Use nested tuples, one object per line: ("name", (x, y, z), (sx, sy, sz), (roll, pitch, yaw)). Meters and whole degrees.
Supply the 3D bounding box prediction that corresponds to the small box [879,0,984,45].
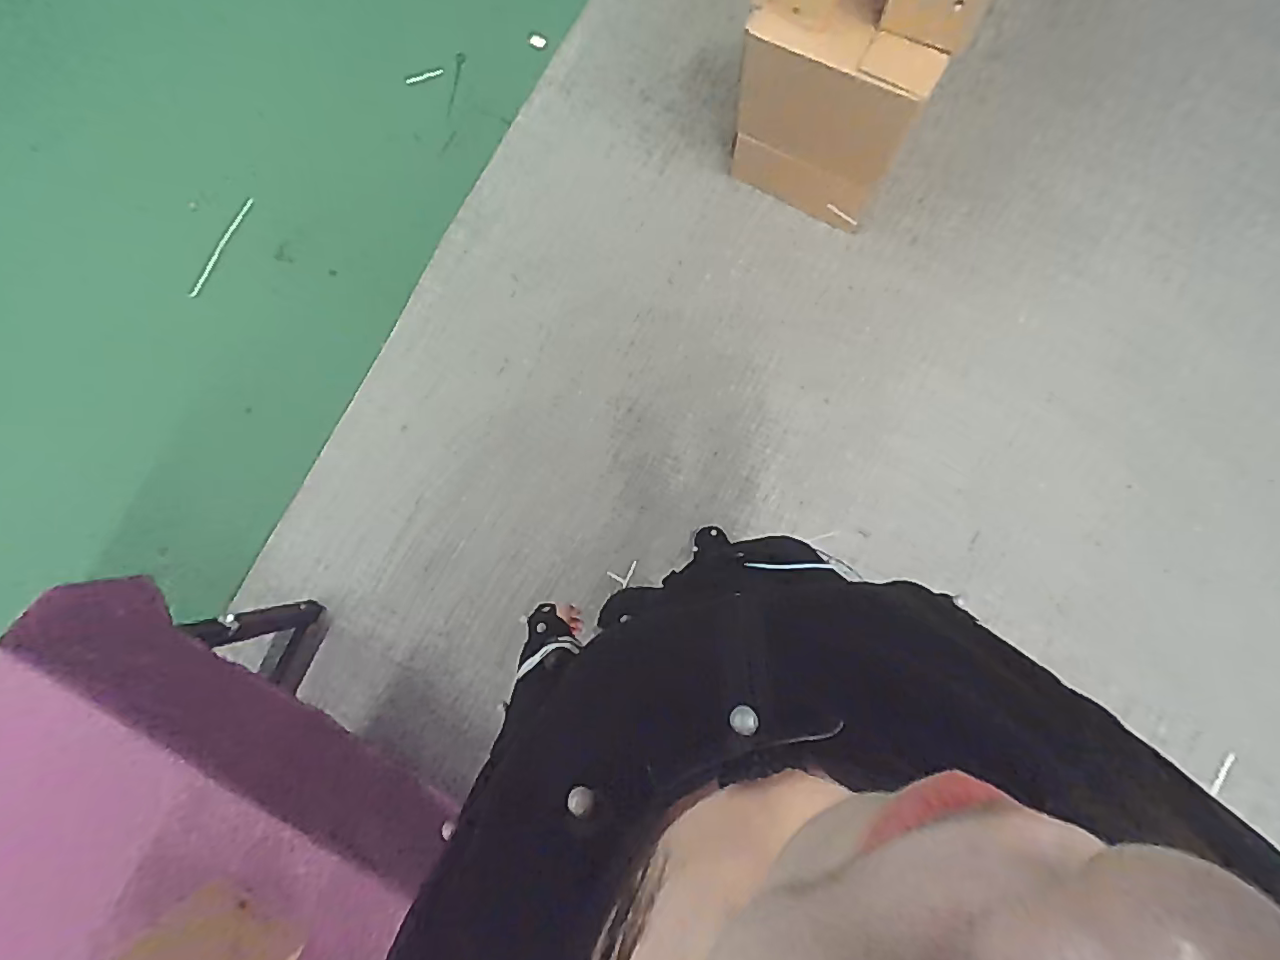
("small box", (0.589, -0.978, 1.019), (0.179, 0.176, 0.168), (28, 86, 8))
